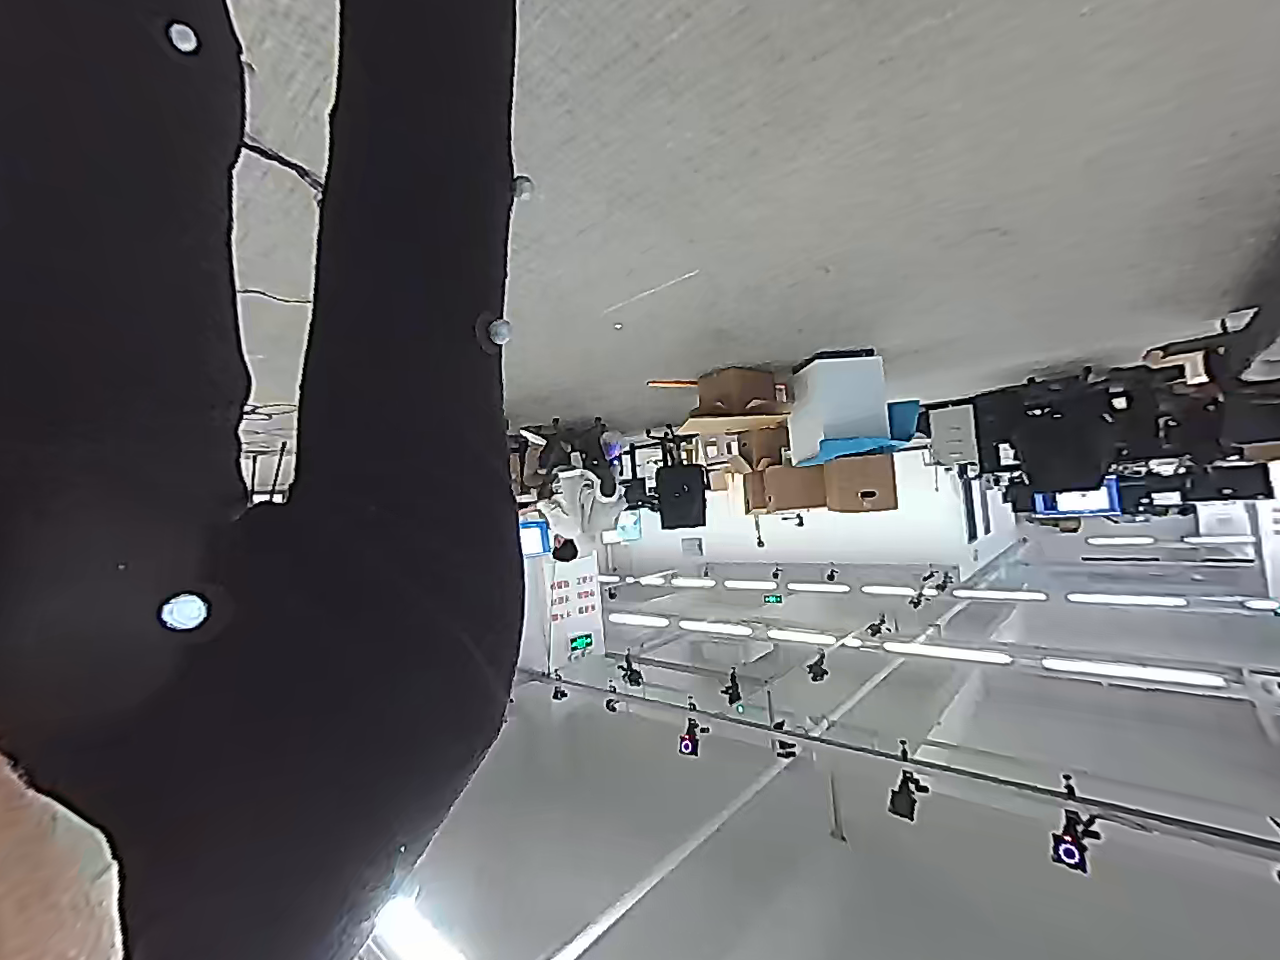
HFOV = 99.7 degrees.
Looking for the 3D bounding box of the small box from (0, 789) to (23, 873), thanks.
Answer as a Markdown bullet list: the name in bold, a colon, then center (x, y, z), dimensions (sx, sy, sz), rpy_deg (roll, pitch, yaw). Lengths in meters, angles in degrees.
- **small box**: center (-1.825, 0.985, 1.487), dimensions (0.179, 0.176, 0.168), rpy_deg (-5, 179, 42)
